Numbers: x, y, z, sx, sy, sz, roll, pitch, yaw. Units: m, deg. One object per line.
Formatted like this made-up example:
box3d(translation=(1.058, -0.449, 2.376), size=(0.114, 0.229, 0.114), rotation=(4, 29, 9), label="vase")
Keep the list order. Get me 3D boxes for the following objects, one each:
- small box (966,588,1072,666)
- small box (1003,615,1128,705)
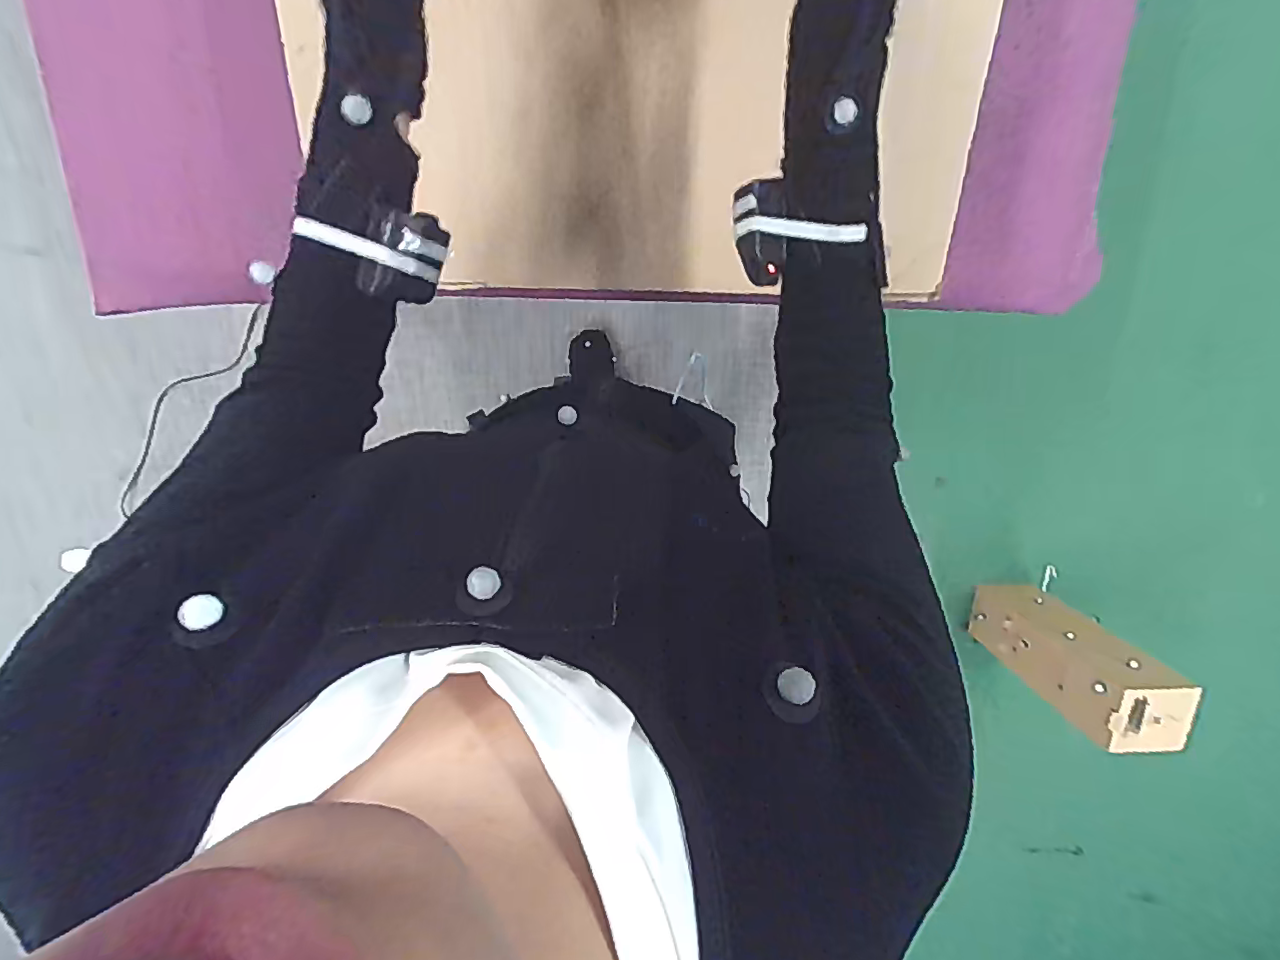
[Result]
box3d(translation=(1.098, 0.424, 1.575), size=(0.179, 0.176, 0.168), rotation=(1, 105, -2), label="small box")
box3d(translation=(1.105, 0.466, 1.418), size=(0.179, 0.176, 0.168), rotation=(0, 106, -1), label="small box")
